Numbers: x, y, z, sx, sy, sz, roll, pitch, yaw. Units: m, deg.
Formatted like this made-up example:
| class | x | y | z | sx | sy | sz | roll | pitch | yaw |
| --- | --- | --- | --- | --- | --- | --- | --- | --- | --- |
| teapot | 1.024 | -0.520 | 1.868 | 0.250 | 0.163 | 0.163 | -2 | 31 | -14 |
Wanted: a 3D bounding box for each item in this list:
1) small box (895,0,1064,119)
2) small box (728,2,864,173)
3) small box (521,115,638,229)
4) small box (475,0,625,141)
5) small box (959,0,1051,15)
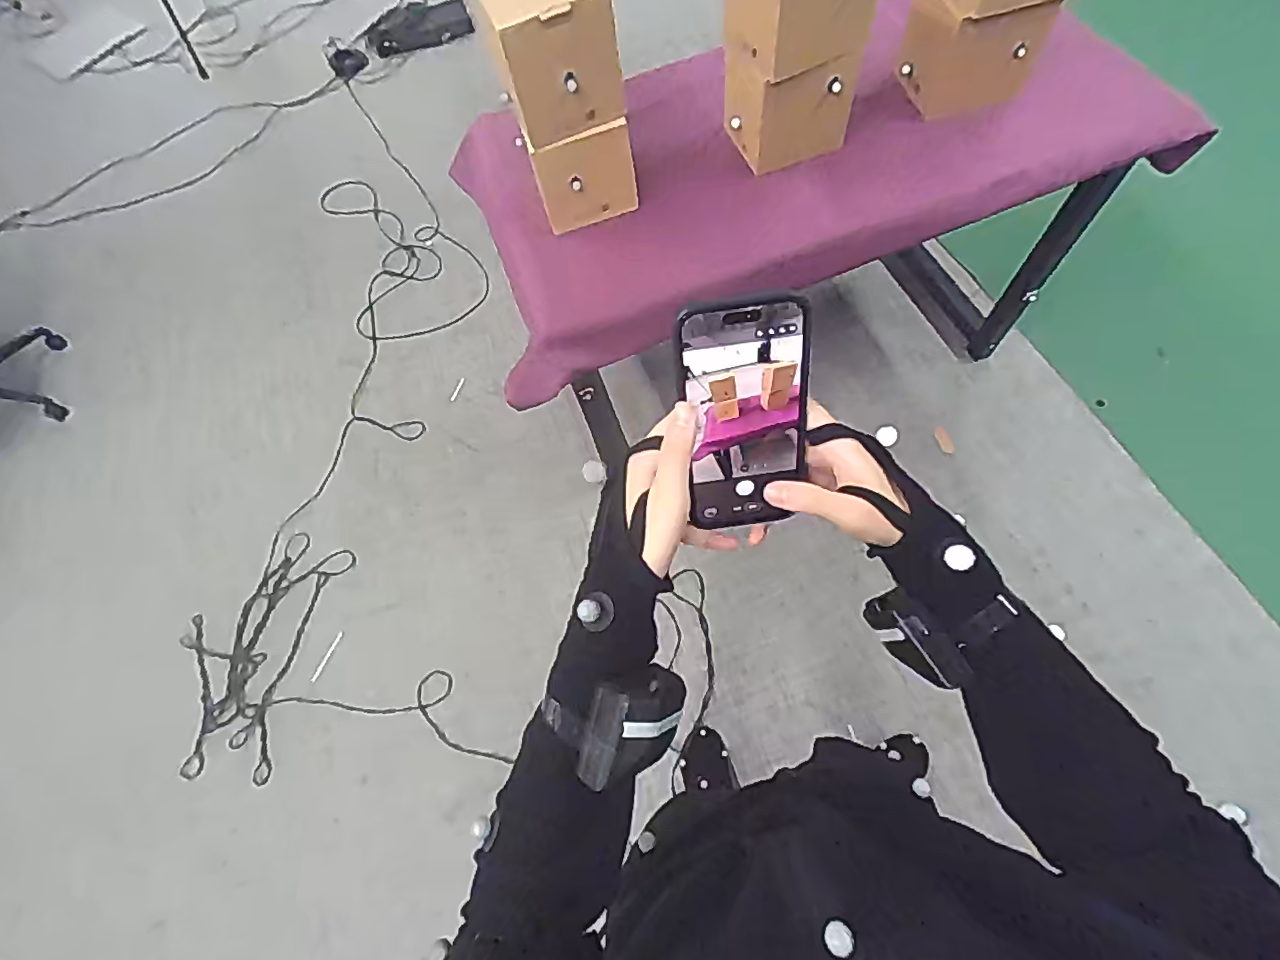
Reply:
| class | x | y | z | sx | sy | sz | roll | pitch | yaw |
| --- | --- | --- | --- | --- | --- | --- | --- | --- | --- |
| small box | 0.592 | -0.793 | 0.968 | 0.179 | 0.176 | 0.168 | -13 | 65 | 2 |
| small box | 0.266 | -0.695 | 0.970 | 0.179 | 0.176 | 0.168 | -19 | 65 | -1 |
| small box | -0.109 | -0.585 | 0.976 | 0.168 | 0.176 | 0.179 | -18 | 65 | 0 |
| small box | -0.133 | -0.659 | 0.831 | 0.168 | 0.176 | 0.179 | -23 | 66 | -3 |
| small box | 0.584 | -0.849 | 0.814 | 0.179 | 0.176 | 0.168 | -13 | 65 | 2 |
